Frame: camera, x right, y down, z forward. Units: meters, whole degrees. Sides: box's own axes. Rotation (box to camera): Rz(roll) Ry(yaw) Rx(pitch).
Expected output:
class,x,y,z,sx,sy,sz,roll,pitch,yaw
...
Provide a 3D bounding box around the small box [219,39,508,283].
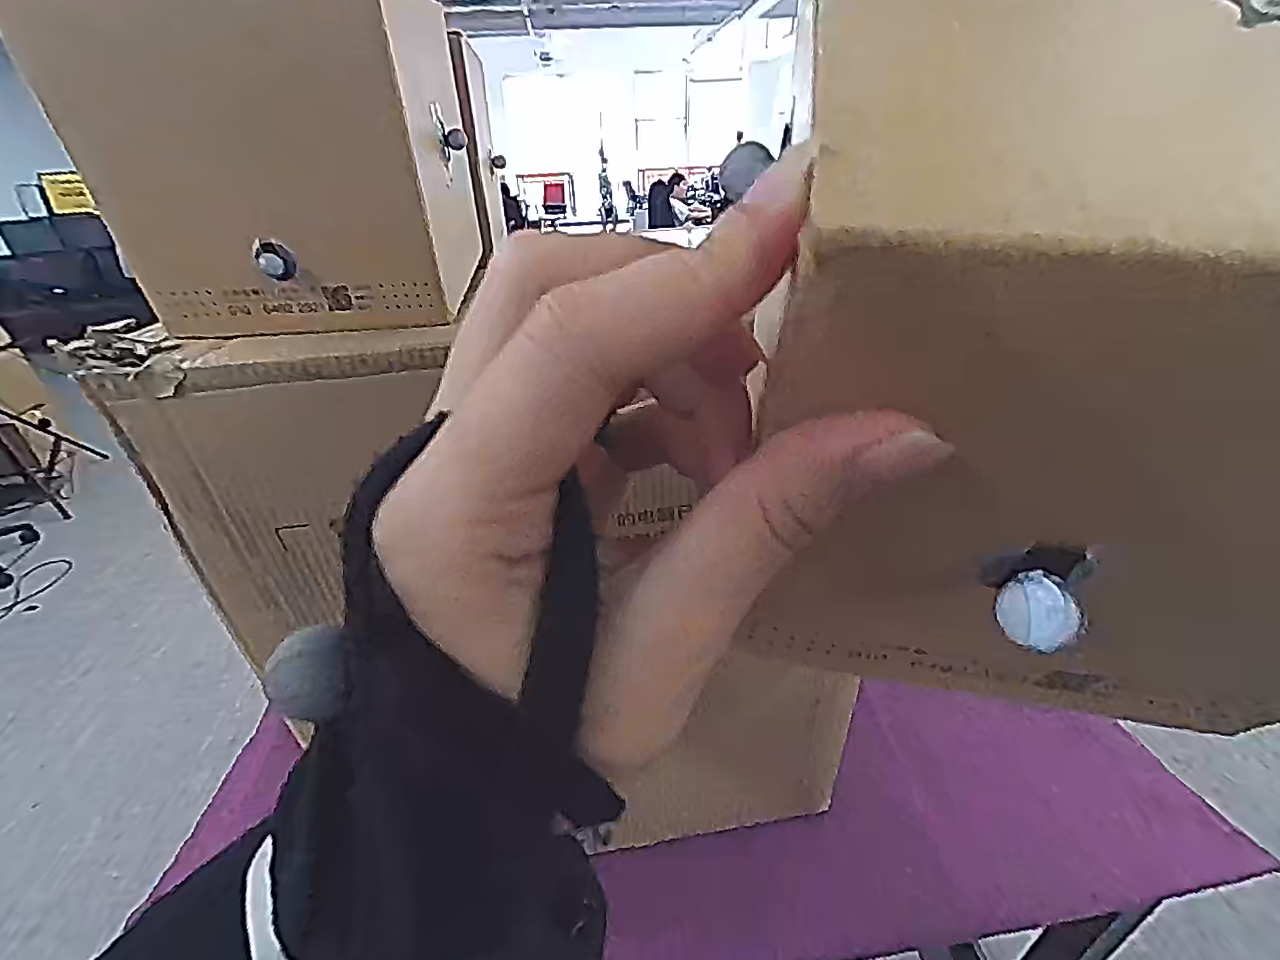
class,x,y,z,sx,sy,sz,roll,pitch,yaw
small box,-0.224,-0.288,0.502,0.179,0.176,0.168,-6,31,-6

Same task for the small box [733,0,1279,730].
class,x,y,z,sx,sy,sz,roll,pitch,yaw
small box,0.121,-0.040,0.165,0.168,0.176,0.179,7,56,9
